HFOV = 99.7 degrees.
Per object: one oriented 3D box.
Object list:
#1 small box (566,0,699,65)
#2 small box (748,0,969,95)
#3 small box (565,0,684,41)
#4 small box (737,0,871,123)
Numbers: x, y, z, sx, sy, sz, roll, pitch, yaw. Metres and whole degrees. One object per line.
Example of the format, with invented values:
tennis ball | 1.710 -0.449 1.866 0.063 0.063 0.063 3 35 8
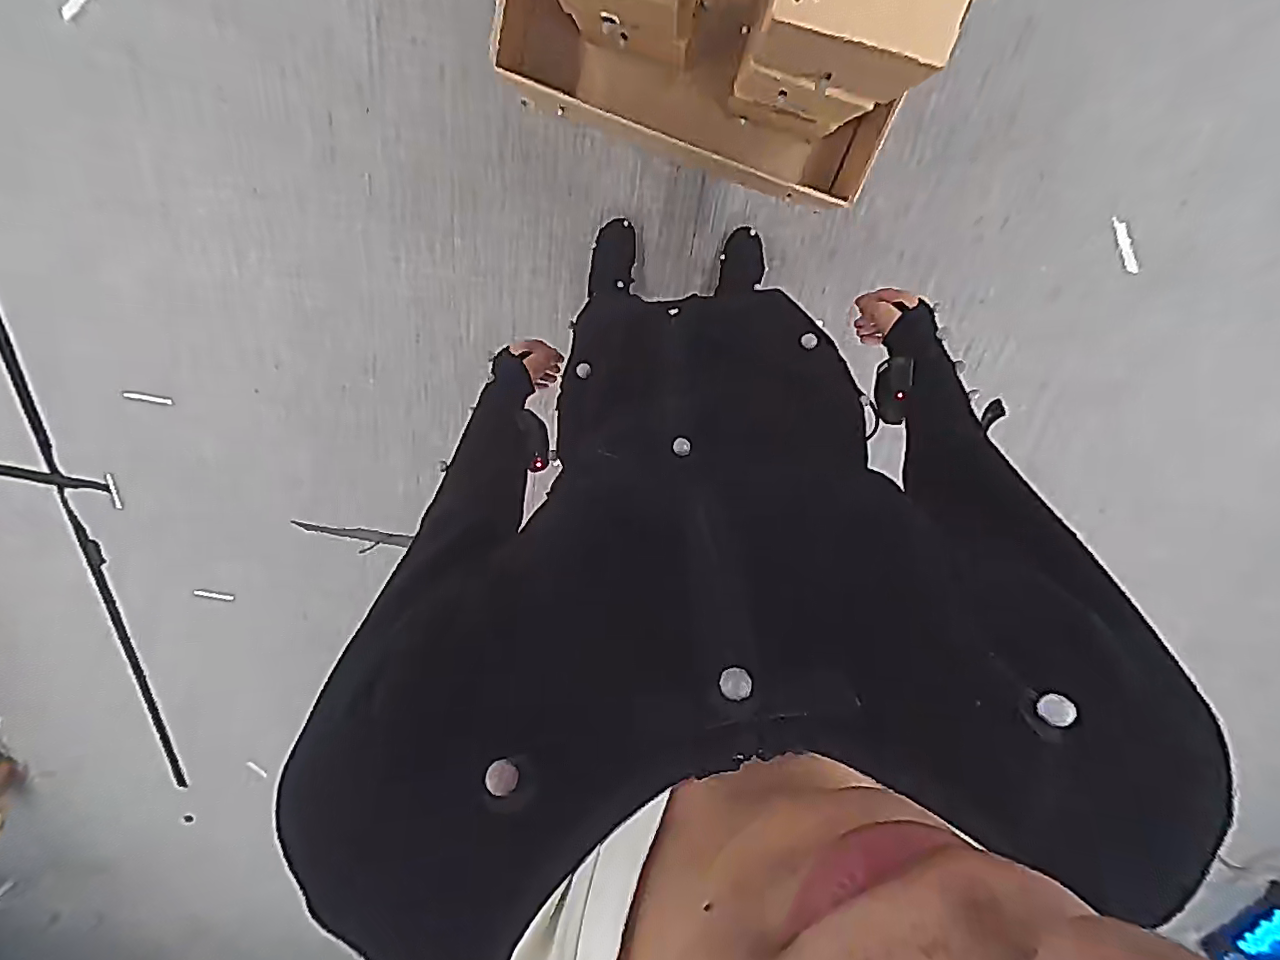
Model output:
small box | 0.003 -0.752 0.805 0.179 0.176 0.168 15 117 -5
small box | 0.224 -0.515 0.544 0.179 0.176 0.168 14 116 -4
small box | -0.015 -0.682 0.657 0.168 0.176 0.179 14 117 -1
small box | 0.230 -0.587 0.692 0.168 0.176 0.179 16 116 -4
